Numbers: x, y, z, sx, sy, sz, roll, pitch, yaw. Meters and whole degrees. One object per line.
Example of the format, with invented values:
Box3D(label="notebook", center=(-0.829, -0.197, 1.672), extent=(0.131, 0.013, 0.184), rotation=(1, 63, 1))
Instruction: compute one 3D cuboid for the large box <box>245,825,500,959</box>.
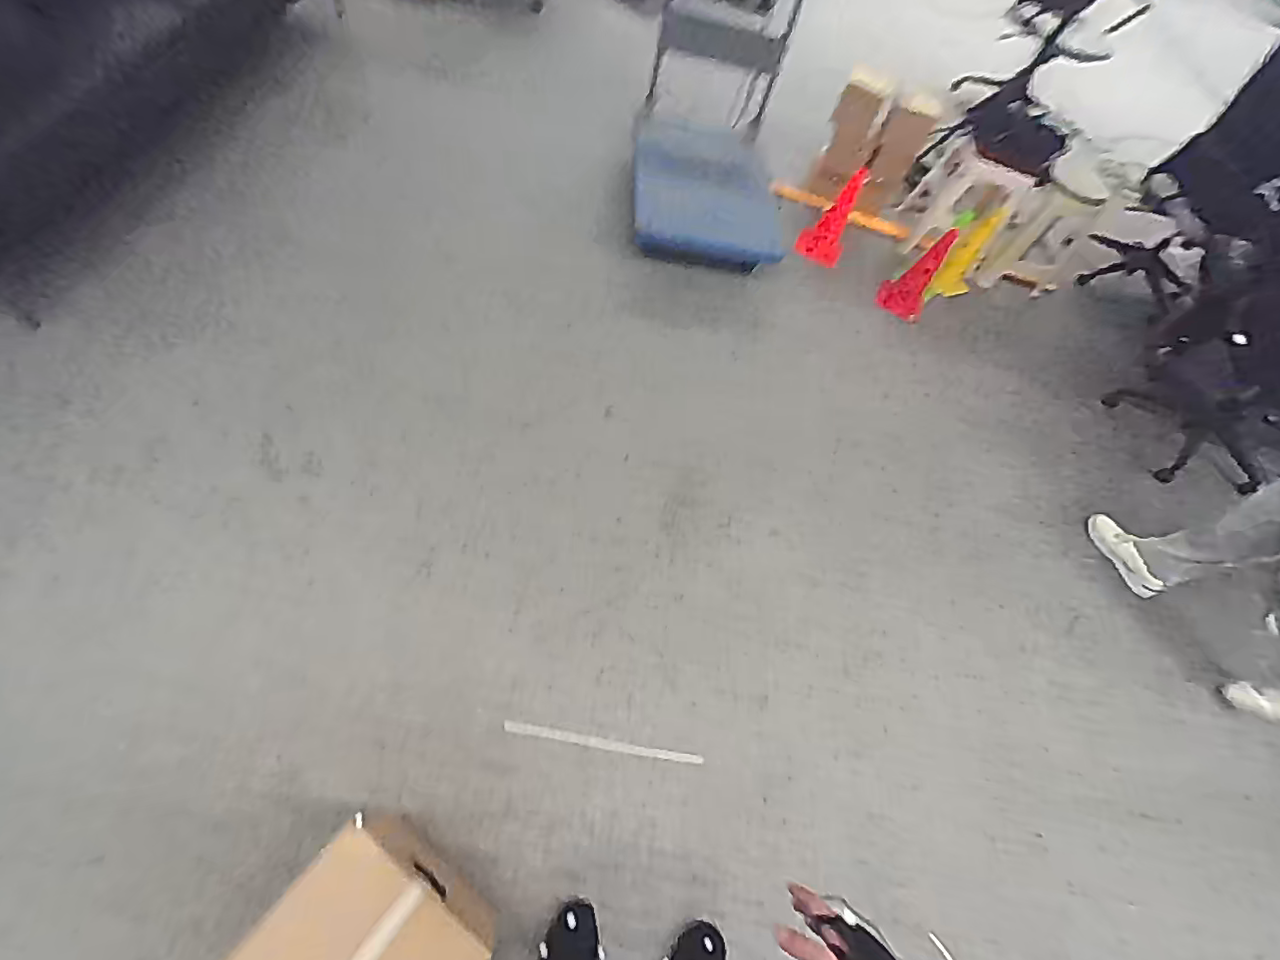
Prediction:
Box3D(label="large box", center=(-0.487, 0.870, 0.901), extent=(0.320, 0.320, 0.408), rotation=(36, 59, 9))
